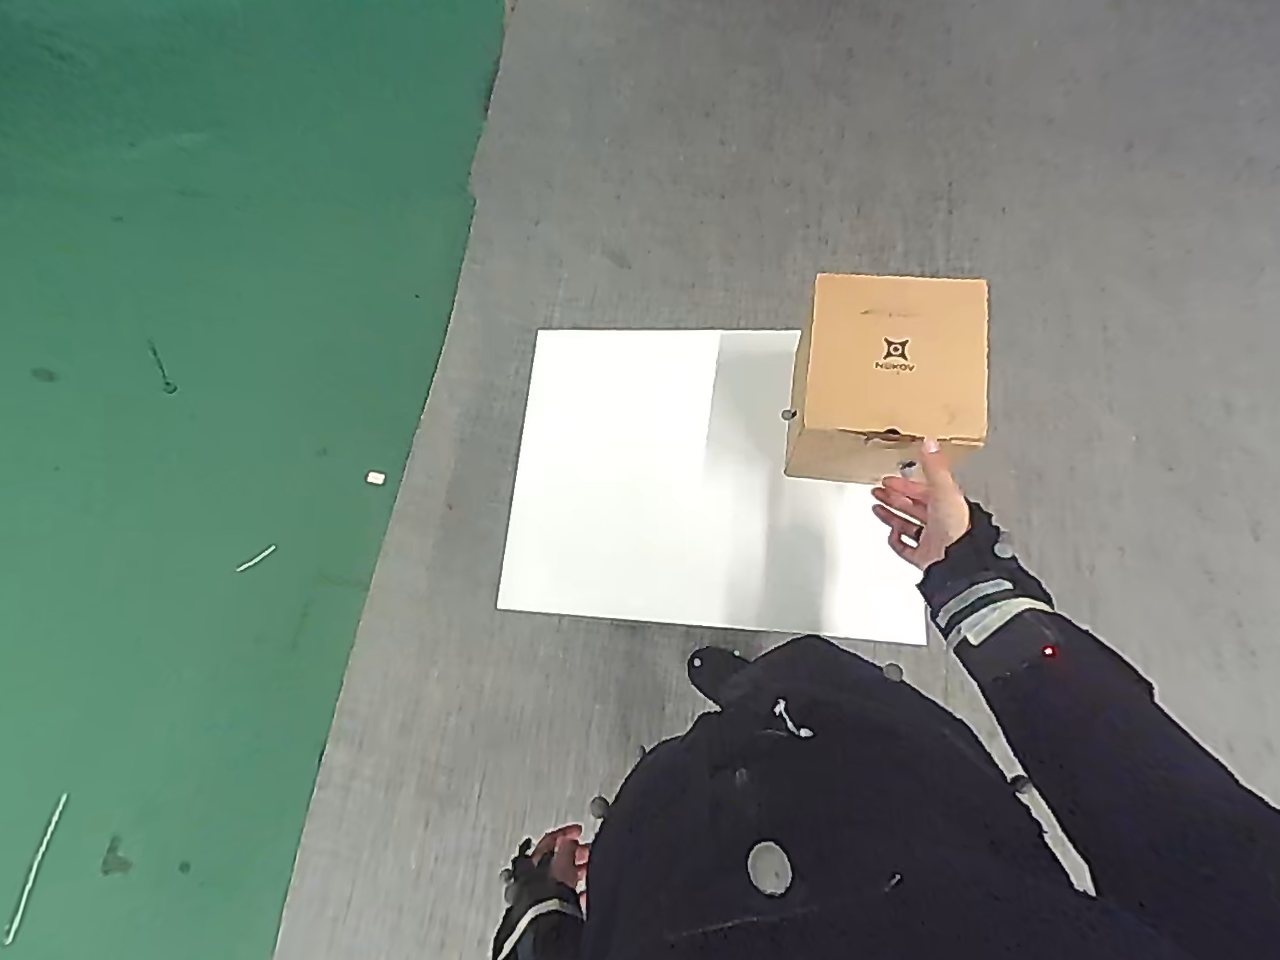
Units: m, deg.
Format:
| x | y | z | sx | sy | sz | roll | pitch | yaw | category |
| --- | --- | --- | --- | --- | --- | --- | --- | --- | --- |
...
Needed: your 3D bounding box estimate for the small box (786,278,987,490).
| x | y | z | sx | sy | sz | roll | pitch | yaw | category |
| --- | --- | --- | --- | --- | --- | --- | --- | --- | --- |
| 0.261 | -0.097 | 0.603 | 0.168 | 0.176 | 0.179 | 7 | 74 | 10 | small box |
